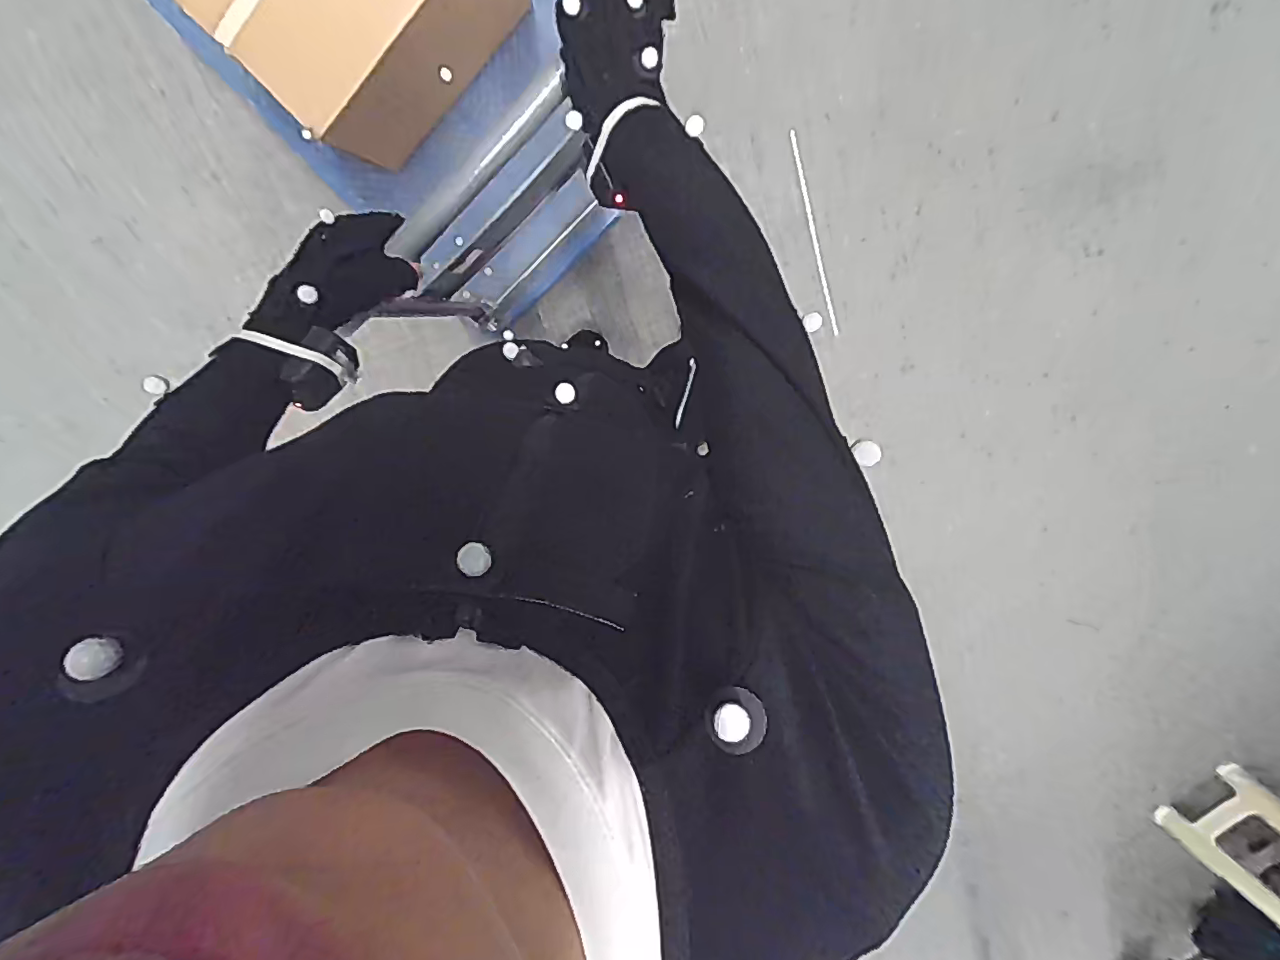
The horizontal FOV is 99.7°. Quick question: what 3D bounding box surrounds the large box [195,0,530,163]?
[{"bbox_3d":[-0.427,-0.800,0.853,0.408,0.320,0.320,-42,107,14],"label":"large box"}]
